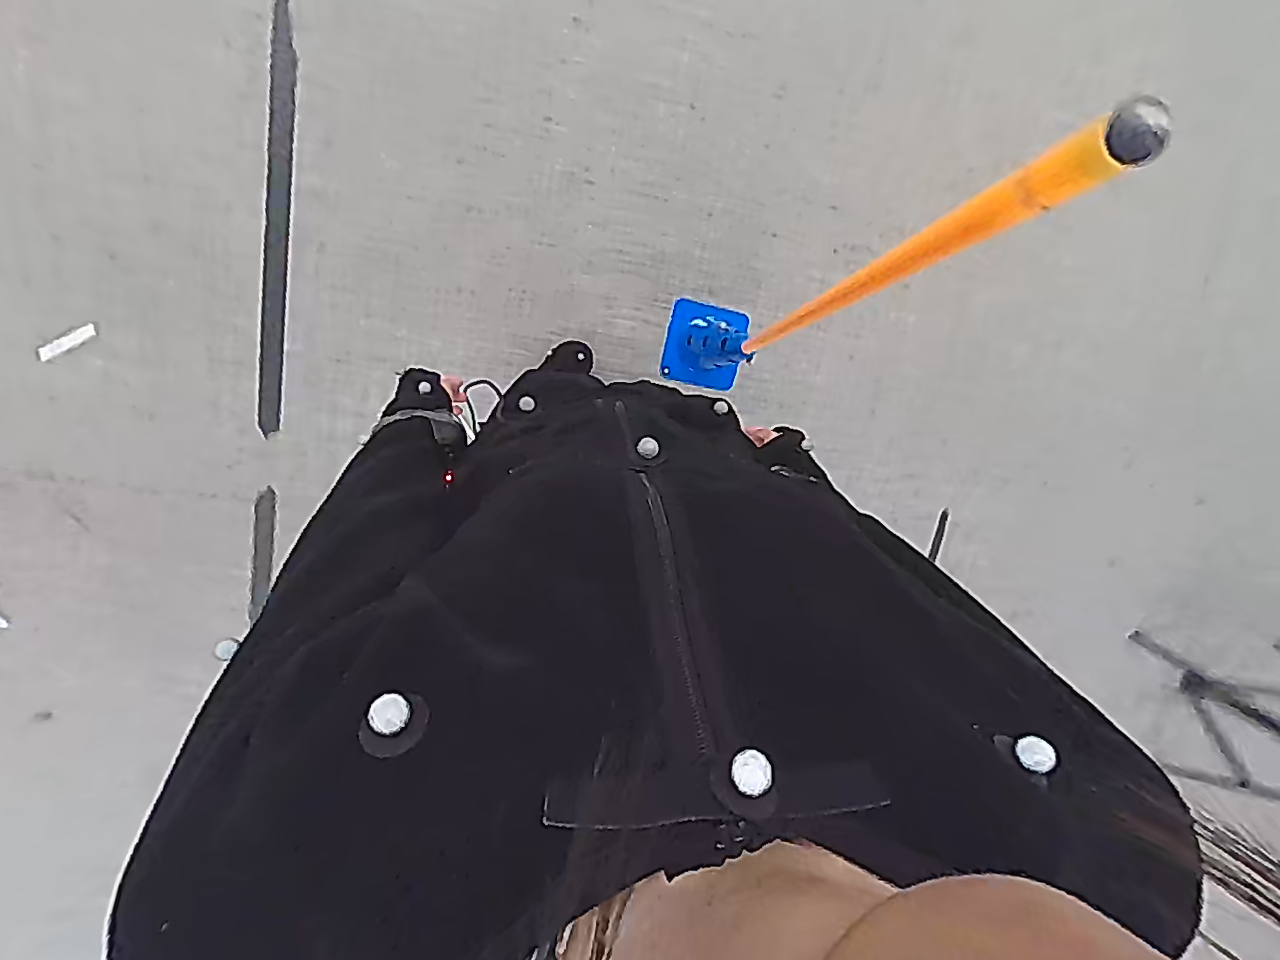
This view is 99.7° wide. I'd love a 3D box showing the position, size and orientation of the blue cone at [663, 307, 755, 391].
[{"bbox_3d":[0.183,-0.289,1.215,0.193,0.380,0.192,13,103,-10],"label":"blue cone"}]
